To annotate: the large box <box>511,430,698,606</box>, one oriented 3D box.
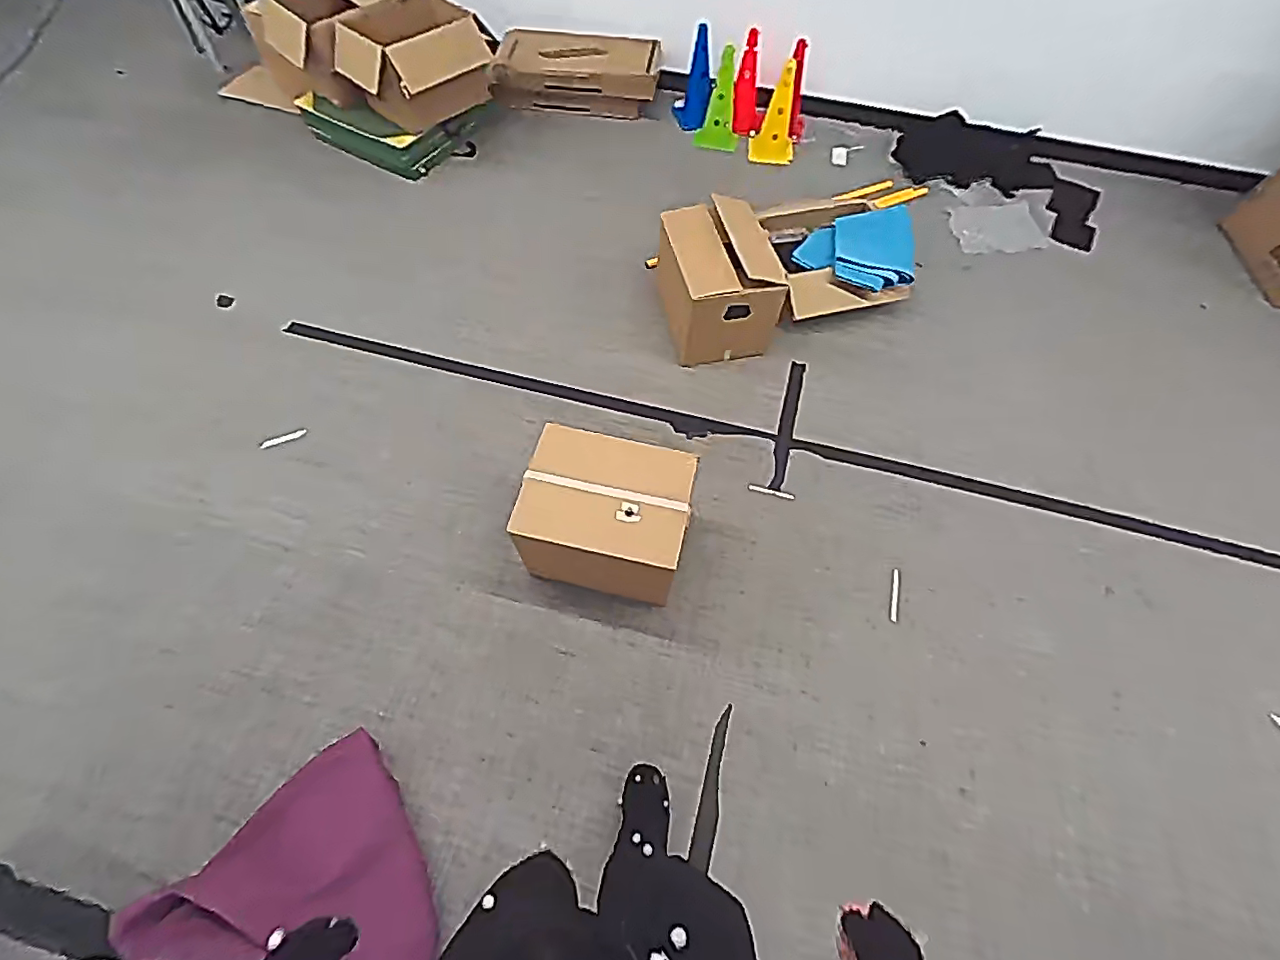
[{"bbox_3d":[-0.084,0.109,1.432,0.408,0.320,0.320,12,62,4],"label":"large box"}]
